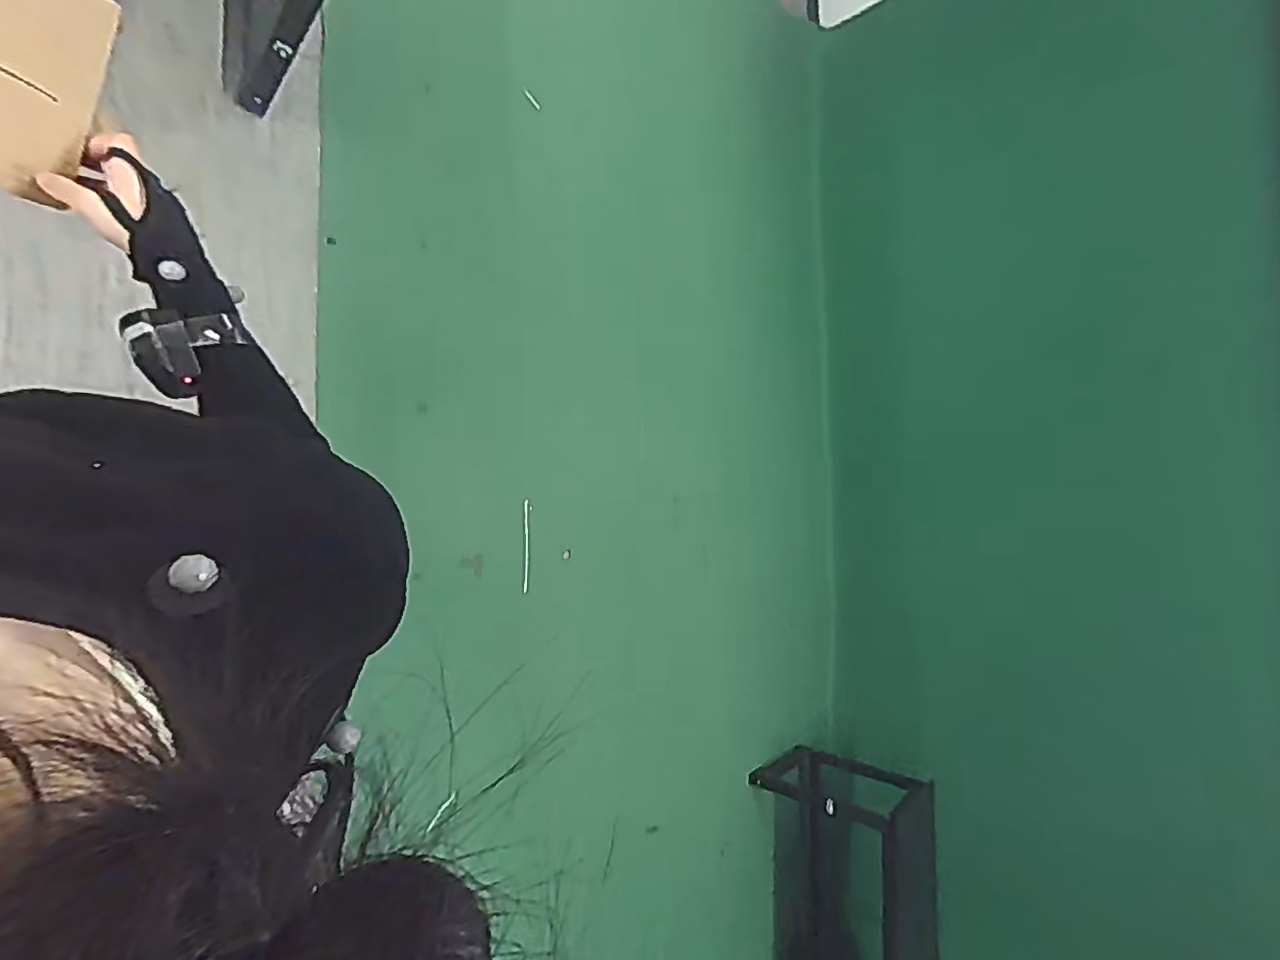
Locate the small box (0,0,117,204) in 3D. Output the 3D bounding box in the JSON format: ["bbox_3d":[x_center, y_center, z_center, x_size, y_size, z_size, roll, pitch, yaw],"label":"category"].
[{"bbox_3d":[-0.519,-0.323,0.354,0.168,0.176,0.179,-63,166,10],"label":"small box"}]
